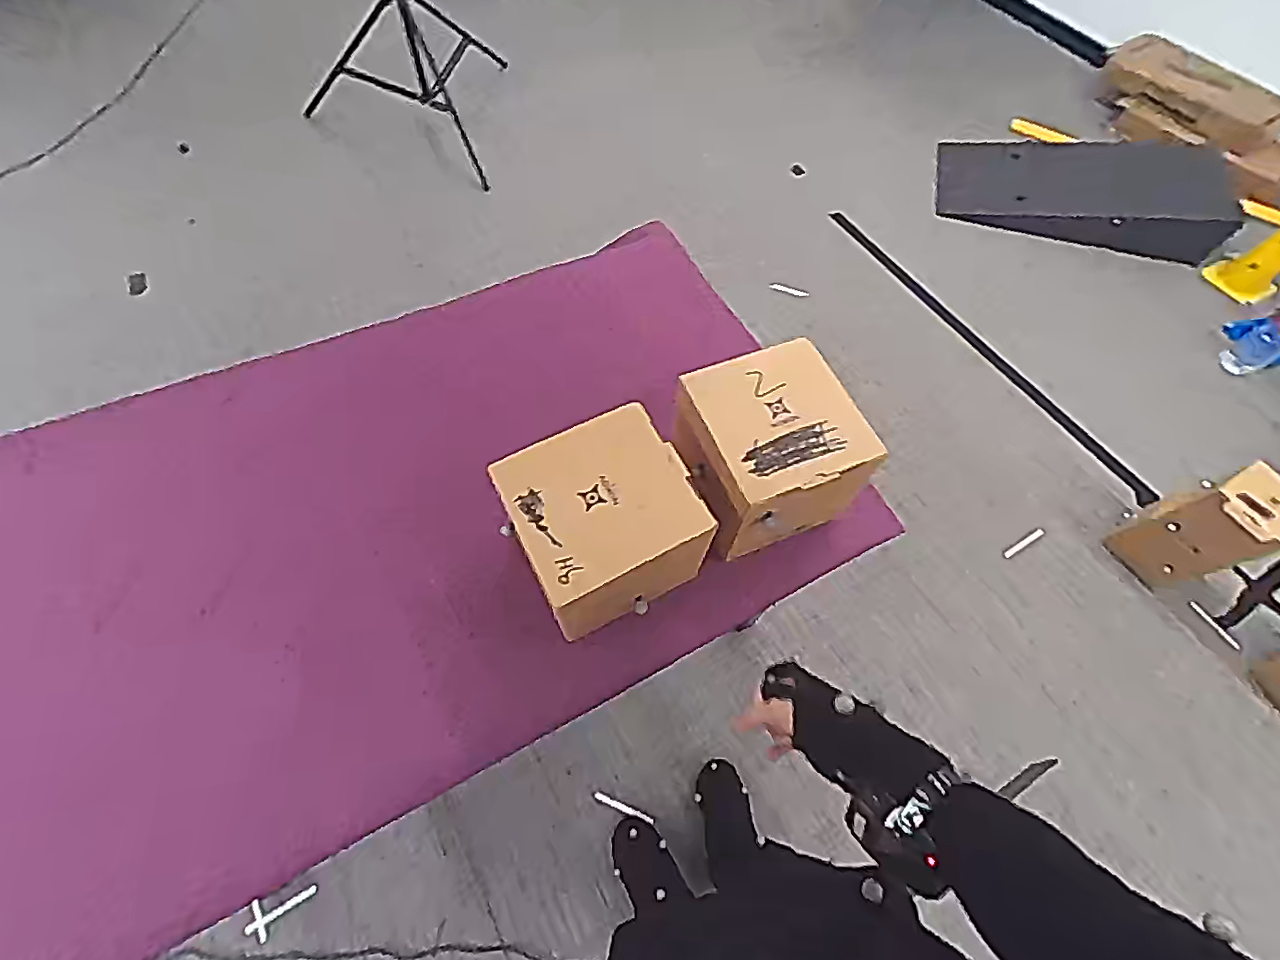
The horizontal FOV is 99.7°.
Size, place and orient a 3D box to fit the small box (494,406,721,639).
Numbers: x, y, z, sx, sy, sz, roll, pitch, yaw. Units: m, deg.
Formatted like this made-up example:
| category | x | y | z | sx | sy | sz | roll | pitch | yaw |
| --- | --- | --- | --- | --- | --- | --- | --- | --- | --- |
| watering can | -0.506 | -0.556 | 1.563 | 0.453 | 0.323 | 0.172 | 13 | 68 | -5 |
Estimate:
| category | x | y | z | sx | sy | sz | roll | pitch | yaw |
| --- | --- | --- | --- | --- | --- | --- | --- | --- | --- |
| small box | -0.039 | 0.053 | 0.600 | 0.179 | 0.176 | 0.168 | -25 | 67 | -15 |

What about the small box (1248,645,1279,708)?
| category | x | y | z | sx | sy | sz | roll | pitch | yaw |
| --- | --- | --- | --- | --- | --- | --- | --- | --- | --- |
| small box | 1.643 | 0.486 | 1.281 | 0.168 | 0.176 | 0.179 | -23 | 67 | -14 |

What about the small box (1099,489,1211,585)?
| category | x | y | z | sx | sy | sz | roll | pitch | yaw |
| --- | --- | --- | --- | --- | --- | --- | --- | --- | --- |
| small box | 1.397 | 0.160 | 1.436 | 0.168 | 0.176 | 0.179 | -29 | 67 | -17 |

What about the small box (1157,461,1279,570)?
| category | x | y | z | sx | sy | sz | roll | pitch | yaw |
| --- | --- | --- | --- | --- | --- | --- | --- | --- | --- |
| small box | 1.407 | 0.090 | 1.288 | 0.179 | 0.176 | 0.168 | -26 | 67 | -17 |
